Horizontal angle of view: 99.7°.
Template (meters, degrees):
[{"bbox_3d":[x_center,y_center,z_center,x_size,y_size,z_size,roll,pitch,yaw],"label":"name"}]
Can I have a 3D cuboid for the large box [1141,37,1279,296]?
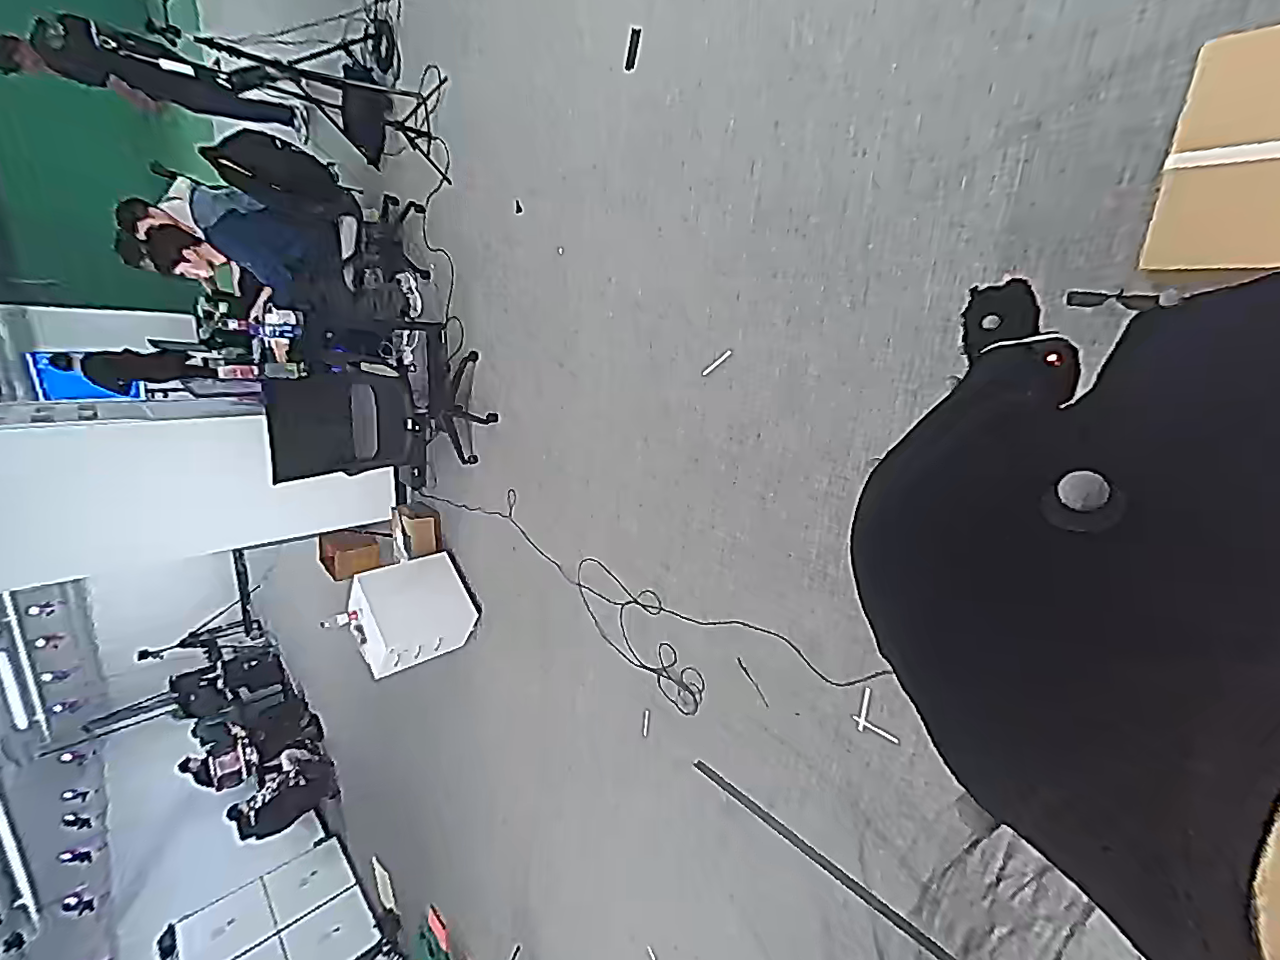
[{"bbox_3d":[1.057,-0.455,0.808,0.408,0.320,0.320,18,111,41],"label":"large box"}]
